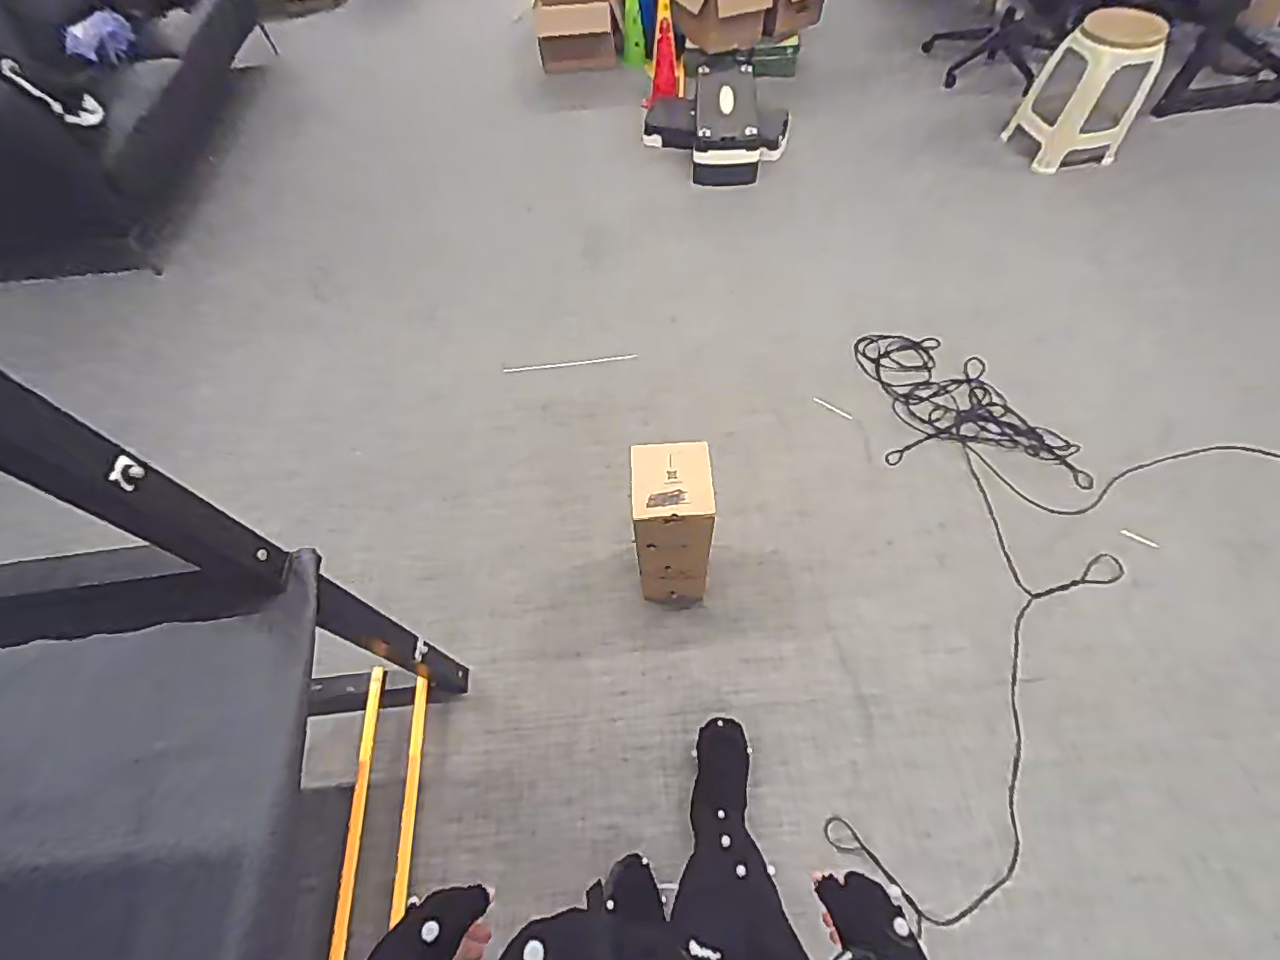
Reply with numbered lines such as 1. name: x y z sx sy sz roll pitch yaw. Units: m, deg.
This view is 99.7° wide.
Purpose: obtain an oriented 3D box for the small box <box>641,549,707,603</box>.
1. small box: 0.089 0.218 1.450 0.168 0.176 0.179 -1 60 4

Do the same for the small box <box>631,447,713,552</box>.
1. small box: 0.068 0.049 1.170 0.168 0.176 0.179 -3 59 2
